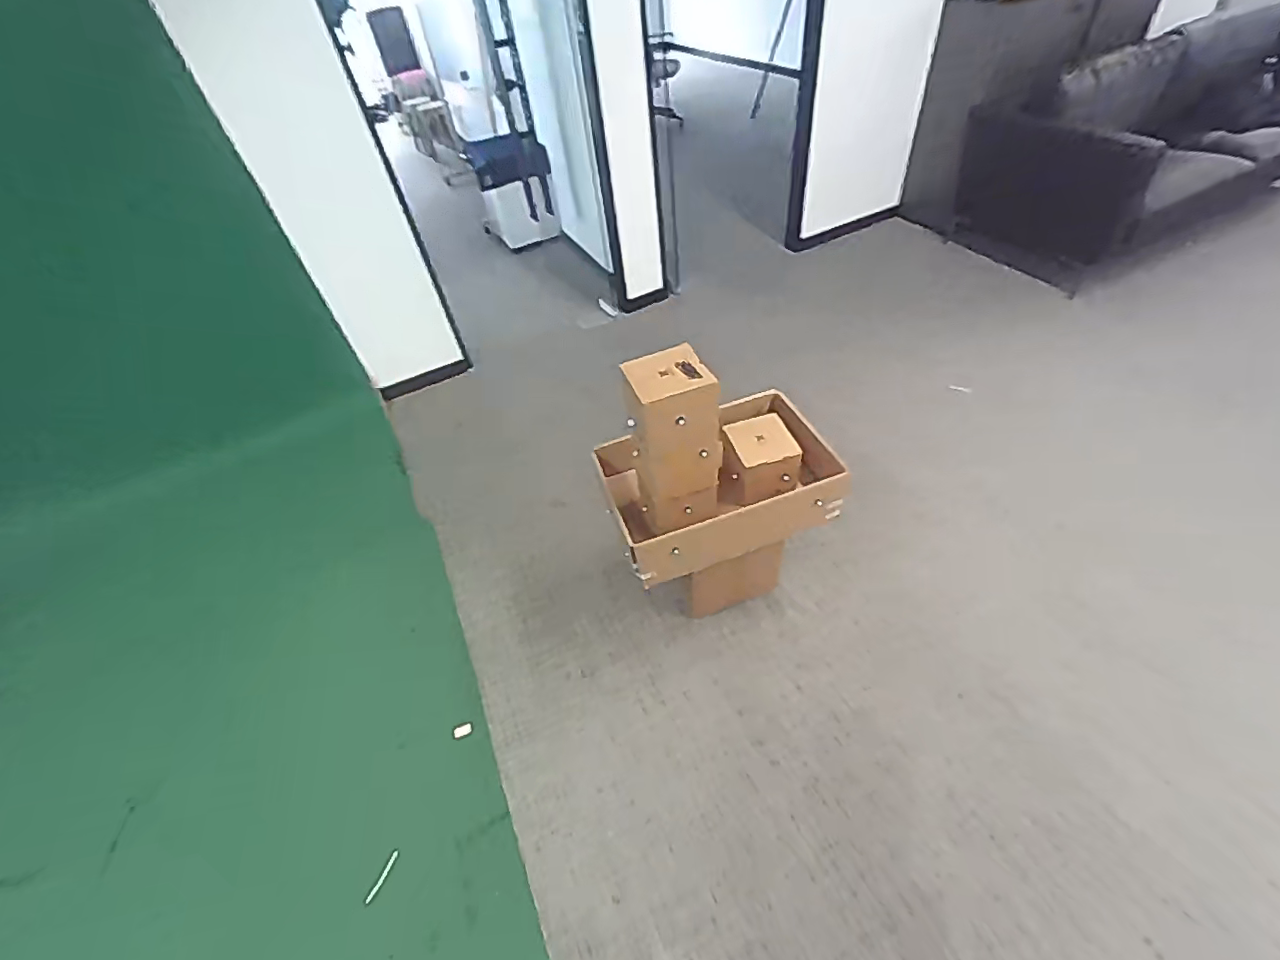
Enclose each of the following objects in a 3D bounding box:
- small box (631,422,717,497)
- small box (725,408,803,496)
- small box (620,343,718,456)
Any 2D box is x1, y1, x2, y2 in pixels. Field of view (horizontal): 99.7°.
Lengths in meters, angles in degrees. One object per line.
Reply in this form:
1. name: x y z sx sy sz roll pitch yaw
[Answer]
1. small box: 0.090 -0.080 1.383 0.179 0.176 0.168 -18 48 -7
2. small box: 0.350 -0.072 1.547 0.168 0.176 0.179 -15 48 -5
3. small box: 0.069 -0.186 1.258 0.179 0.176 0.168 -20 48 -8
